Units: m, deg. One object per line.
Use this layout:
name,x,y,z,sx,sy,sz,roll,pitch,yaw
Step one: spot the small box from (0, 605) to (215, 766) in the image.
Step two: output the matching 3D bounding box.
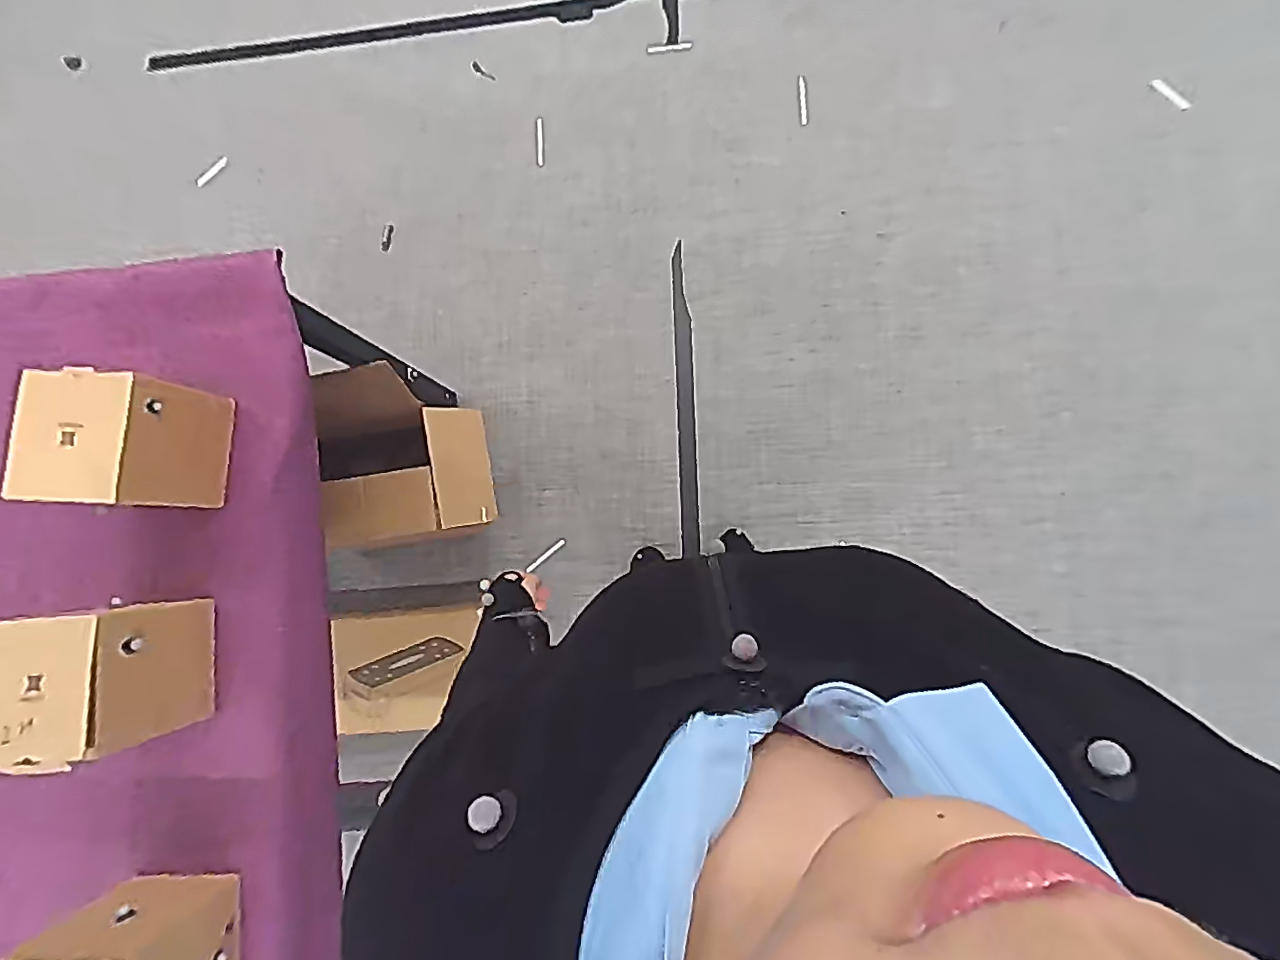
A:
small box,-0.731,0.270,0.747,0.168,0.176,0.179,-6,84,7

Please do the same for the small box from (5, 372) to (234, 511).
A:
small box,-0.733,-0.047,0.781,0.168,0.176,0.179,2,84,5
